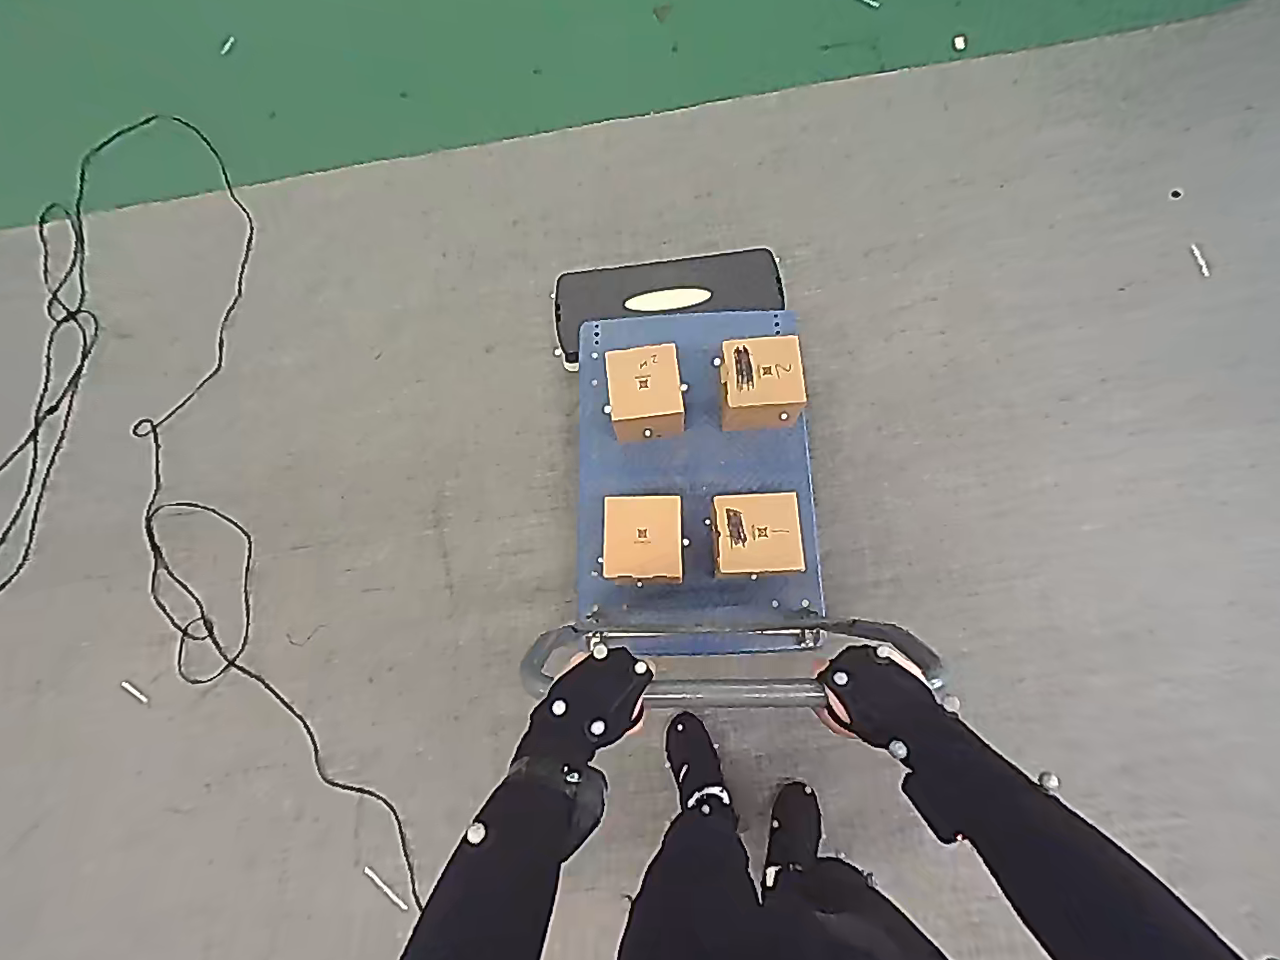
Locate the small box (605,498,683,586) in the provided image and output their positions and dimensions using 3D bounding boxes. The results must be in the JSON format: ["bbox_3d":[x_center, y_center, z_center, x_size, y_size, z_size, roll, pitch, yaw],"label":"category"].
[{"bbox_3d":[0.012,0.145,1.220,0.168,0.176,0.179,0,76,3],"label":"small box"}]

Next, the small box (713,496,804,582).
[{"bbox_3d":[0.254,0.136,1.203,0.179,0.176,0.168,-2,75,3],"label":"small box"}]

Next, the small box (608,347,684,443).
[{"bbox_3d":[0.018,-0.196,1.309,0.168,0.176,0.179,-6,75,2],"label":"small box"}]
